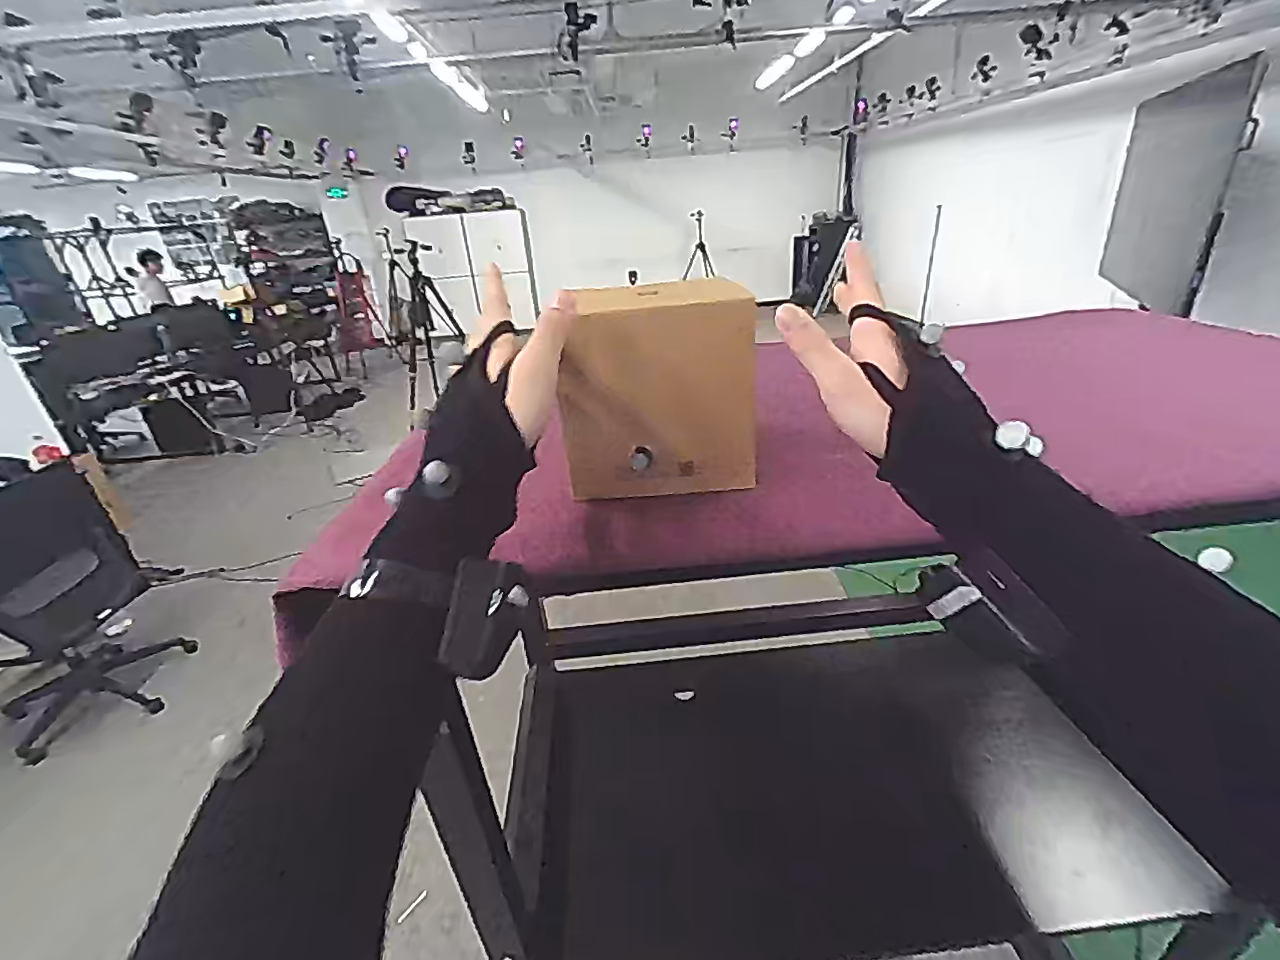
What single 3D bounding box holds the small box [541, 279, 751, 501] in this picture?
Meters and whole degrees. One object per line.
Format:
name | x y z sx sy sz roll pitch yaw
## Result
small box | 0.011 -0.093 0.525 0.168 0.176 0.179 -5 26 2
